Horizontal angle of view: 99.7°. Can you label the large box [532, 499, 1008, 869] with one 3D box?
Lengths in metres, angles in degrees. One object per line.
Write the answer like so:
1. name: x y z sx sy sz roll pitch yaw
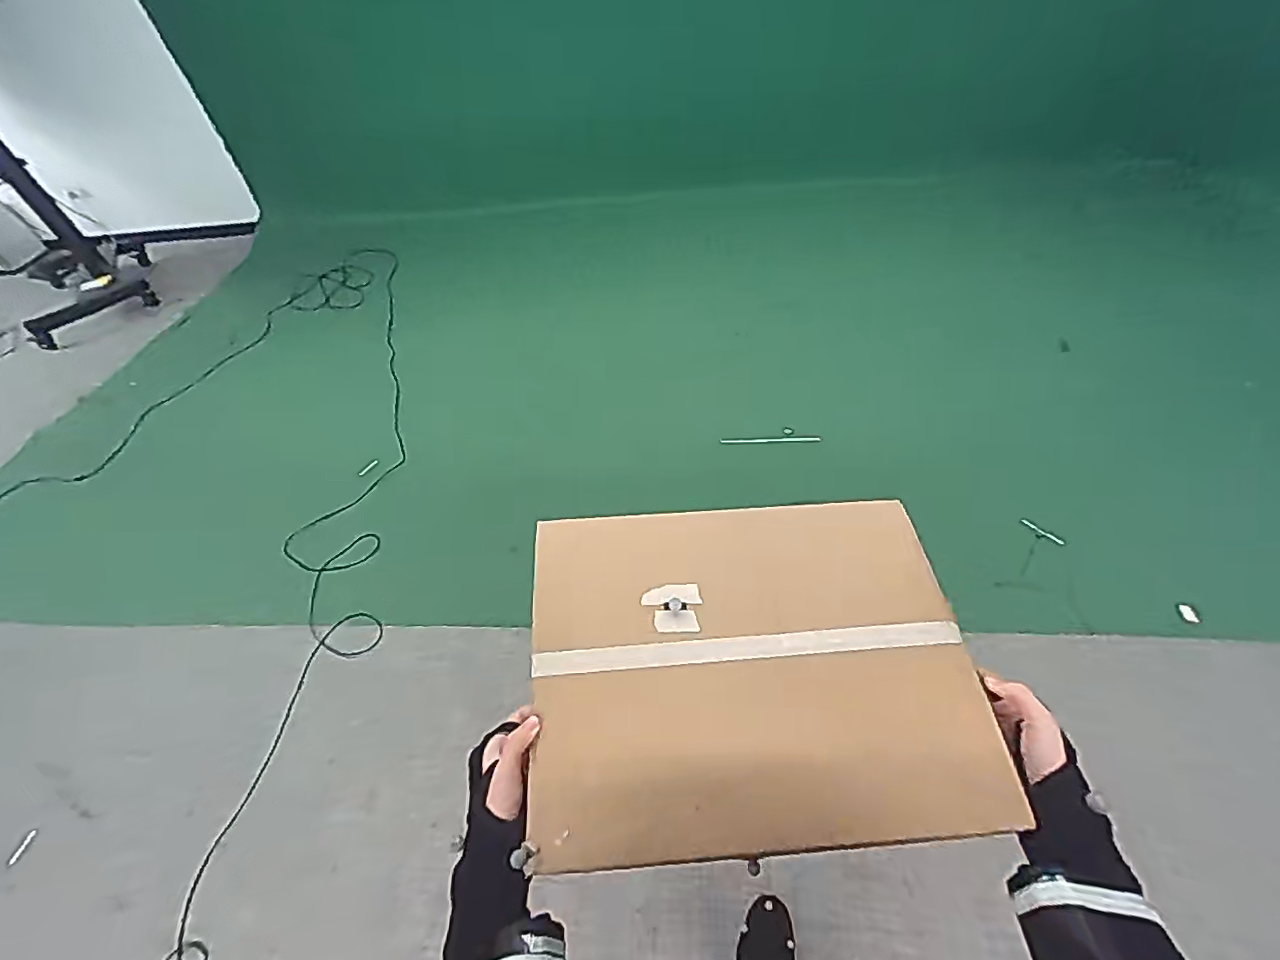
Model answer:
1. large box: 0.101 0.248 0.644 0.408 0.320 0.320 -5 55 -2
